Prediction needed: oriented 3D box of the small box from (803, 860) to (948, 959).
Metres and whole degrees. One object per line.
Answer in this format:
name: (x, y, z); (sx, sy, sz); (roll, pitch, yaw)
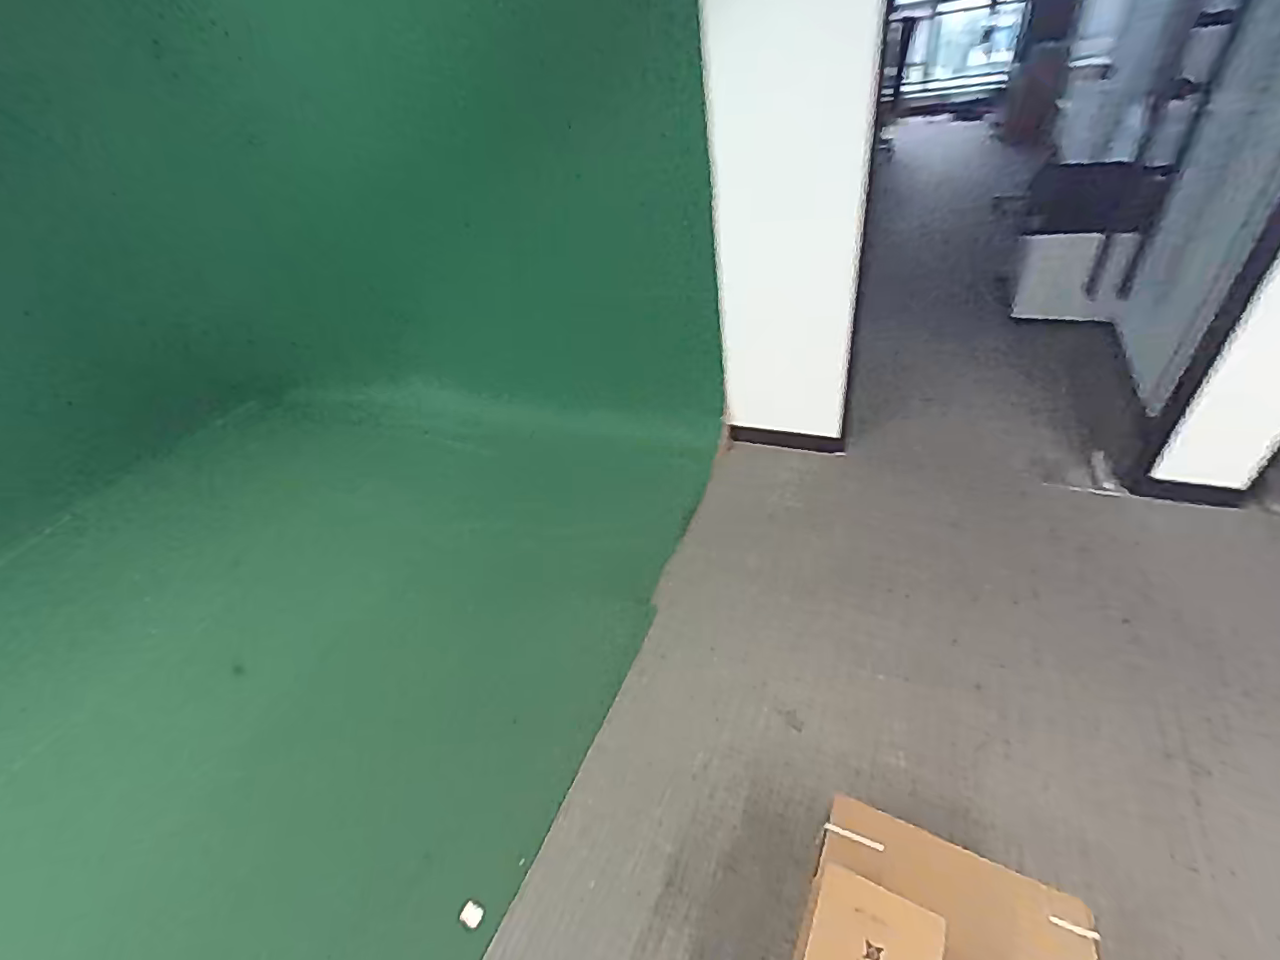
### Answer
small box: (0.331, 0.710, 0.784); (0.168, 0.176, 0.179); (13, 44, 27)
